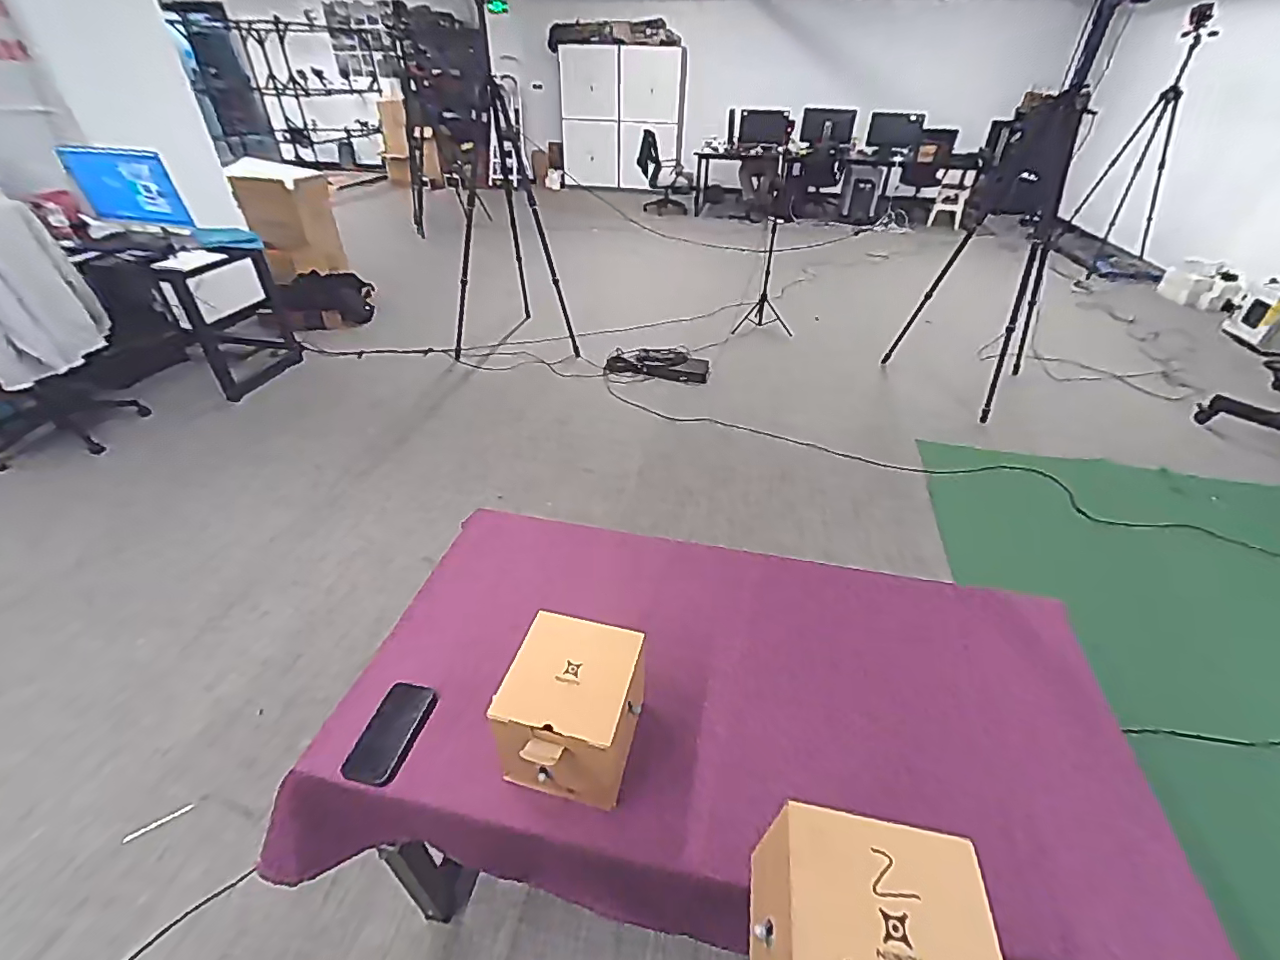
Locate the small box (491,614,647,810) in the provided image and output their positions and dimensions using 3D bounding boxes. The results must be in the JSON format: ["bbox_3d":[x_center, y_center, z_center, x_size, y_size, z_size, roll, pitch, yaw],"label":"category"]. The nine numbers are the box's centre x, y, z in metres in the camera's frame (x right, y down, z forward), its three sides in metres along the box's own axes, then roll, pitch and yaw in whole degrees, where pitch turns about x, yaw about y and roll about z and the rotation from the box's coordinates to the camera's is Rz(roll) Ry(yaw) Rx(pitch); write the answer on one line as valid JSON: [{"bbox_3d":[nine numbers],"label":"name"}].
[{"bbox_3d":[-0.094,0.328,0.774,0.168,0.176,0.179,11,37,11],"label":"small box"}]
